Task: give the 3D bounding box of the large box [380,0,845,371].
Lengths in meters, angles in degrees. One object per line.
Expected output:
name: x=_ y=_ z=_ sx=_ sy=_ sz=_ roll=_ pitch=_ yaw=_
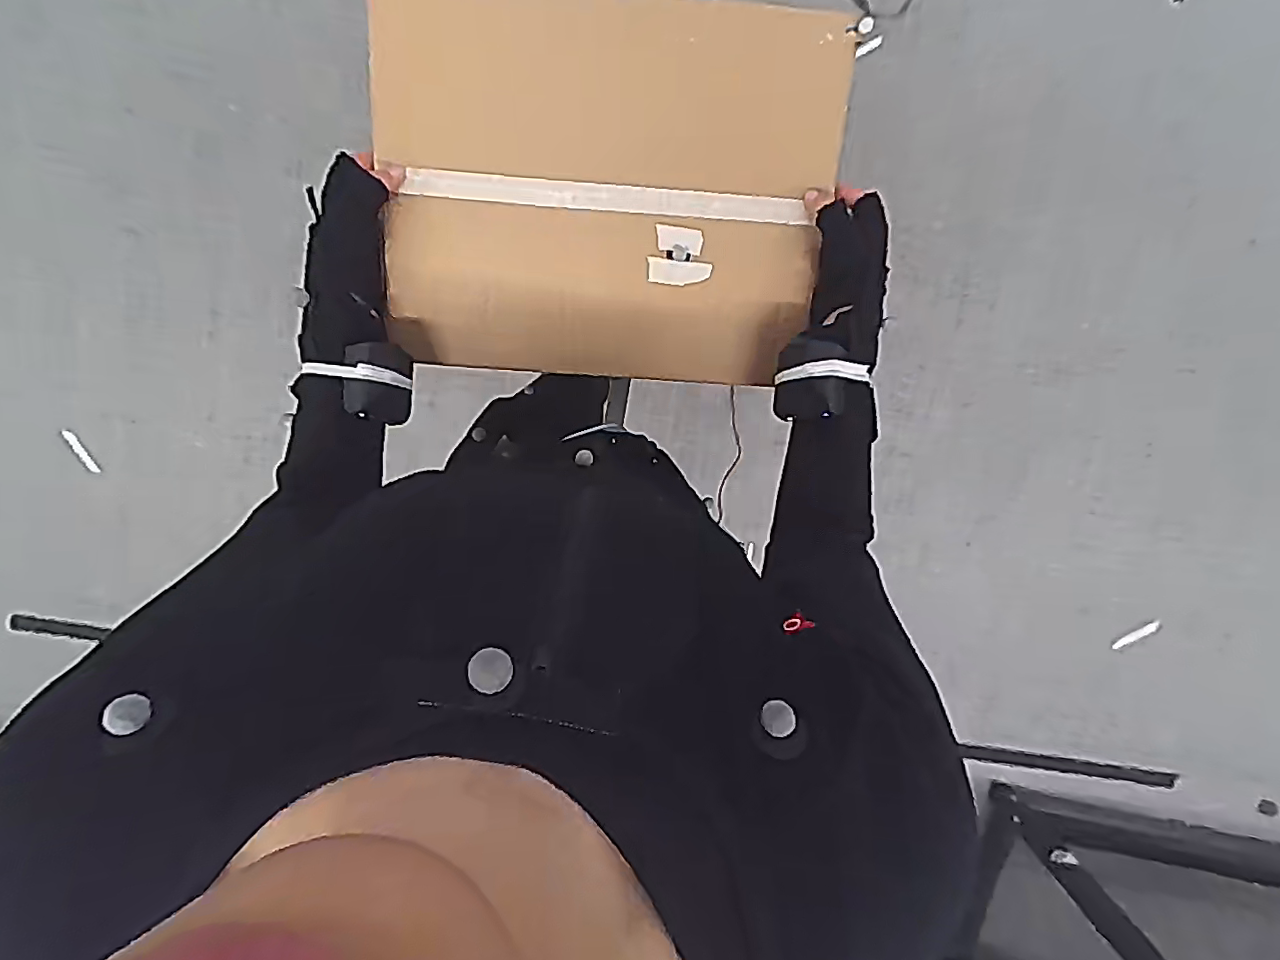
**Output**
large box: x=-0.036 y=-0.303 z=0.639 sx=0.408 sy=0.320 sz=0.320 roll=3 pitch=106 yaw=-4
